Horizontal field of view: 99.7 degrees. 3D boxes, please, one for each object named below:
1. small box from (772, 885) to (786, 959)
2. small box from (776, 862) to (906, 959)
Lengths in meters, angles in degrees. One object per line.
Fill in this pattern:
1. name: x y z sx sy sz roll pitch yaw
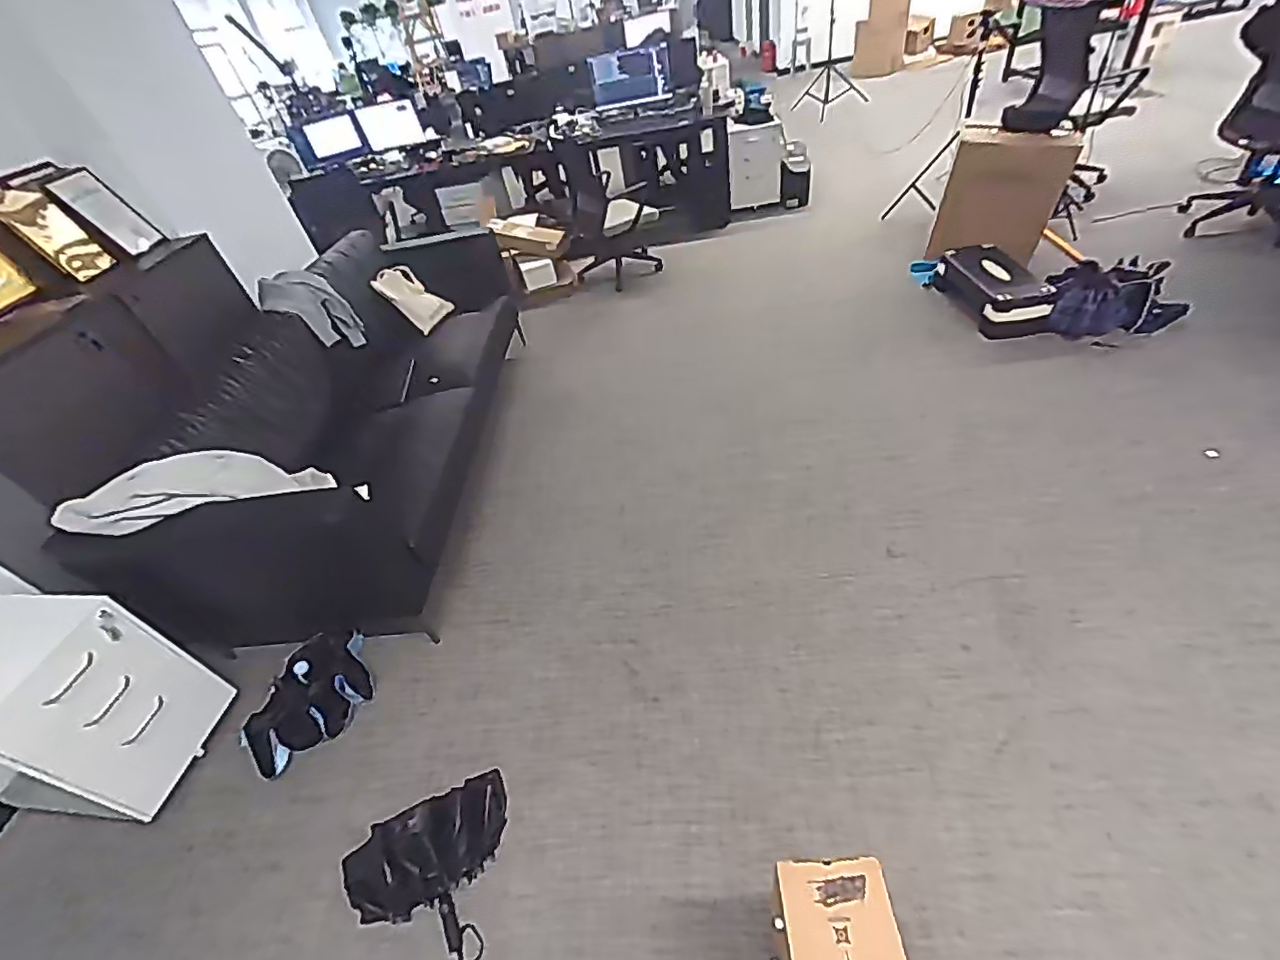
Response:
1. small box: 0.338 0.852 0.978 0.168 0.176 0.179 -7 43 5
2. small box: 0.316 0.735 0.865 0.168 0.176 0.179 -7 46 6
